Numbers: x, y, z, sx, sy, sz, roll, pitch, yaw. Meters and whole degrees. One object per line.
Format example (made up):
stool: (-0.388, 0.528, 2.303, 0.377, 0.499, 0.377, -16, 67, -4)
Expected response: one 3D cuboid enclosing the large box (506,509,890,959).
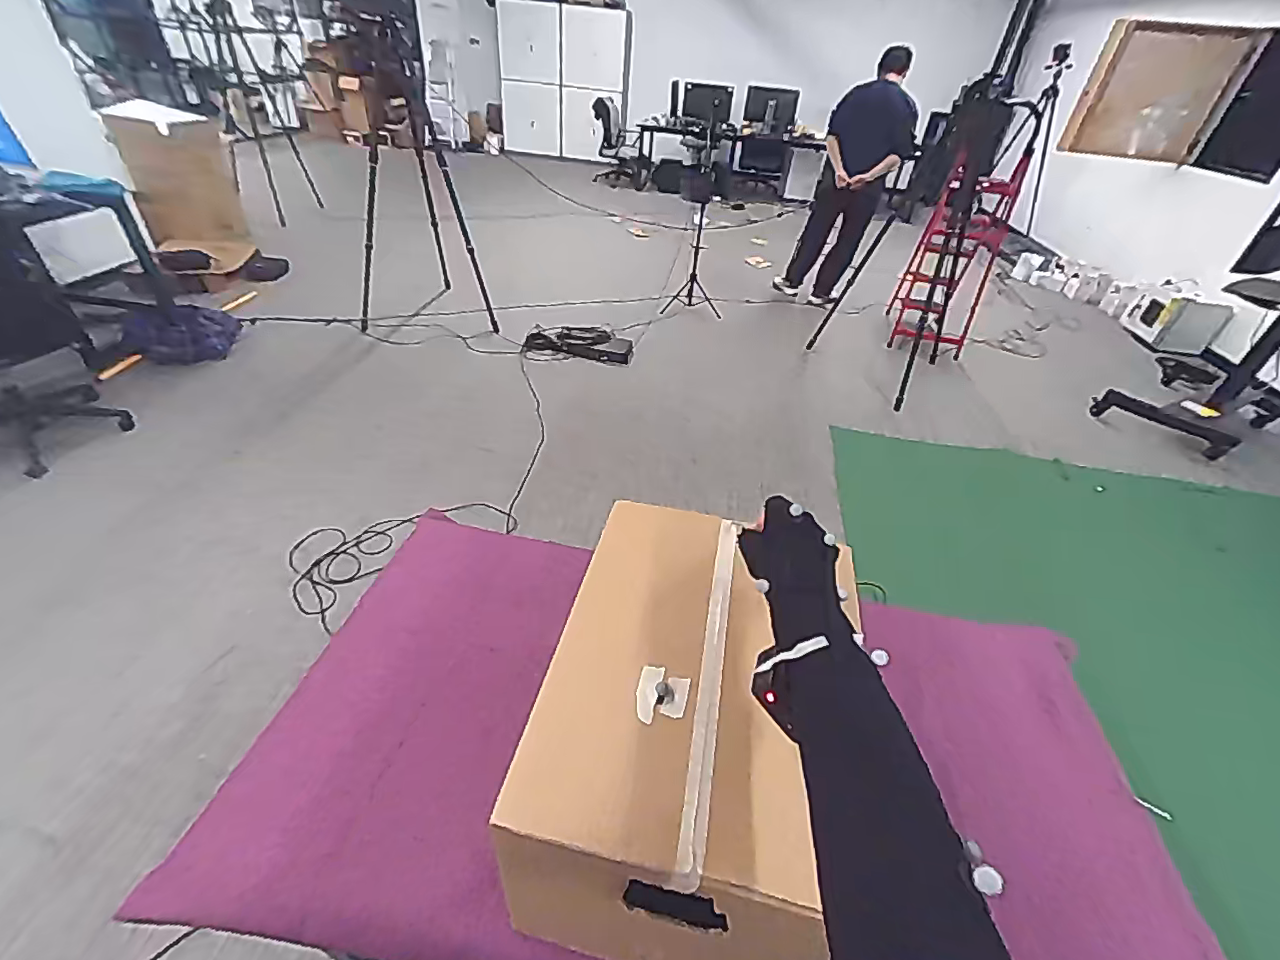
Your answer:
large box: (0.062, 0.302, 0.662, 0.320, 0.320, 0.408, 11, 39, 7)
